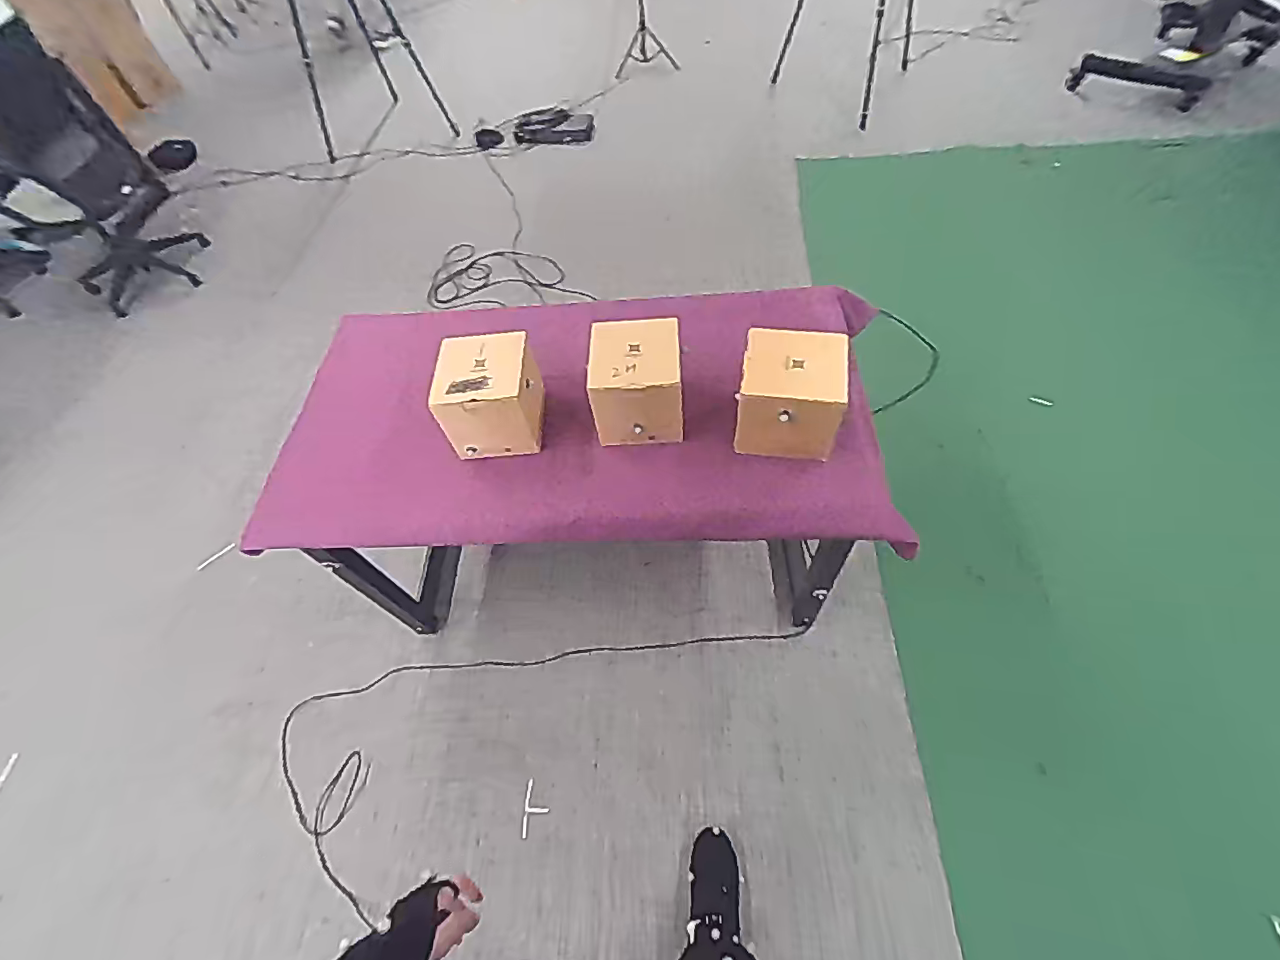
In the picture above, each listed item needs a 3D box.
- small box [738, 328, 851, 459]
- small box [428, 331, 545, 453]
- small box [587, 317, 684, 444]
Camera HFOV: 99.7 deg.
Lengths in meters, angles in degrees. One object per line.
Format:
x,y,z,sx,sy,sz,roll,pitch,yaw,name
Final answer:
0.278,-0.155,0.992,0.179,0.176,0.168,6,58,12,small box
-0.288,-0.164,1.060,0.168,0.176,0.179,-4,56,3,small box
-0.002,-0.189,1.044,0.168,0.176,0.179,-2,57,6,small box
